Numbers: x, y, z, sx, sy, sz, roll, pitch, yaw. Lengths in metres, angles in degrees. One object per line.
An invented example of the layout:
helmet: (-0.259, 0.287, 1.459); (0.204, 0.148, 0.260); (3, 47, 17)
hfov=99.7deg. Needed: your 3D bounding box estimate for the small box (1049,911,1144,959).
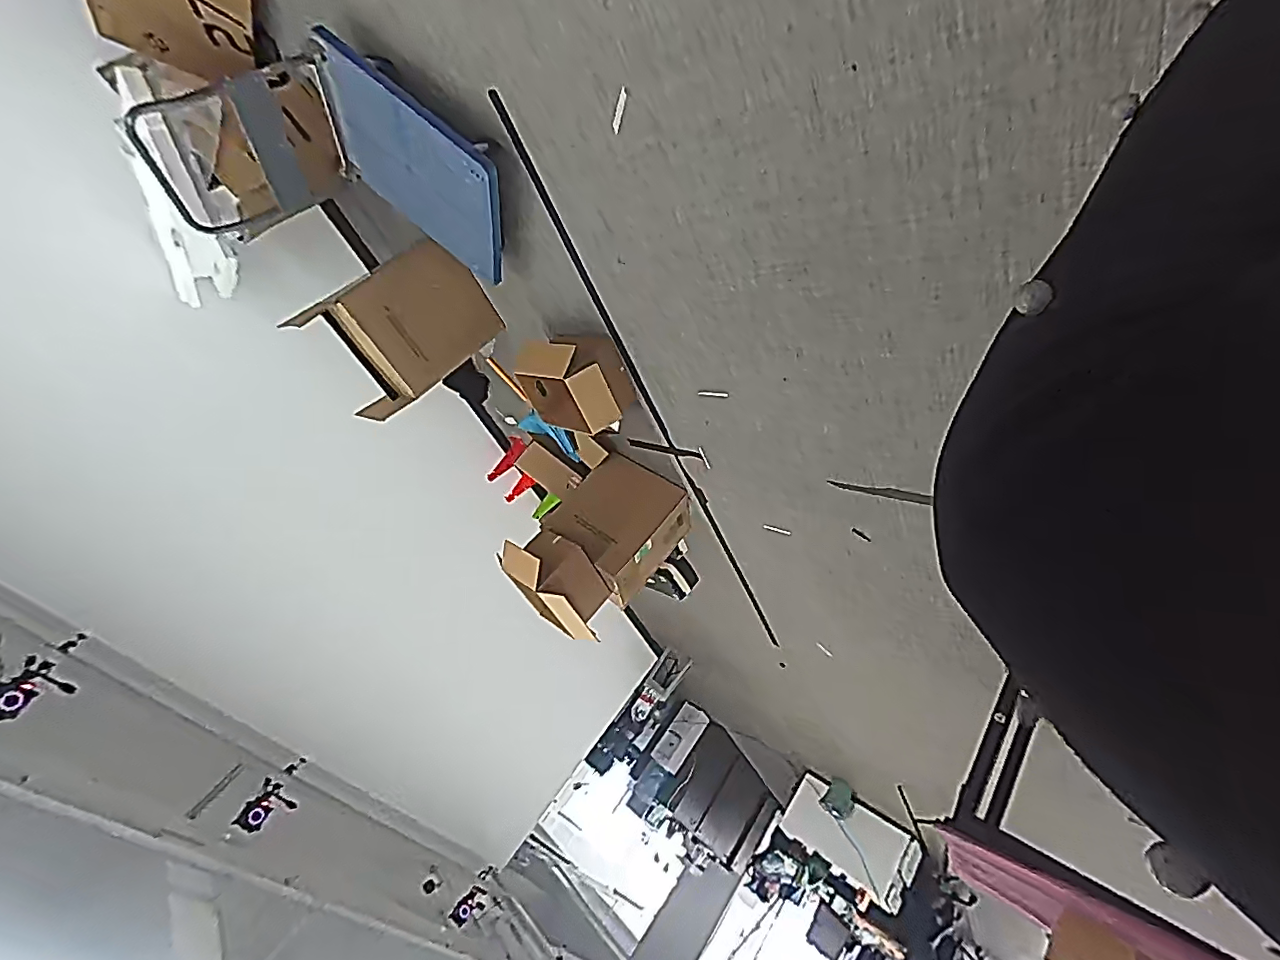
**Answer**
small box: (1.308, 1.387, 1.552); (0.179, 0.176, 0.168); (11, 141, 48)
